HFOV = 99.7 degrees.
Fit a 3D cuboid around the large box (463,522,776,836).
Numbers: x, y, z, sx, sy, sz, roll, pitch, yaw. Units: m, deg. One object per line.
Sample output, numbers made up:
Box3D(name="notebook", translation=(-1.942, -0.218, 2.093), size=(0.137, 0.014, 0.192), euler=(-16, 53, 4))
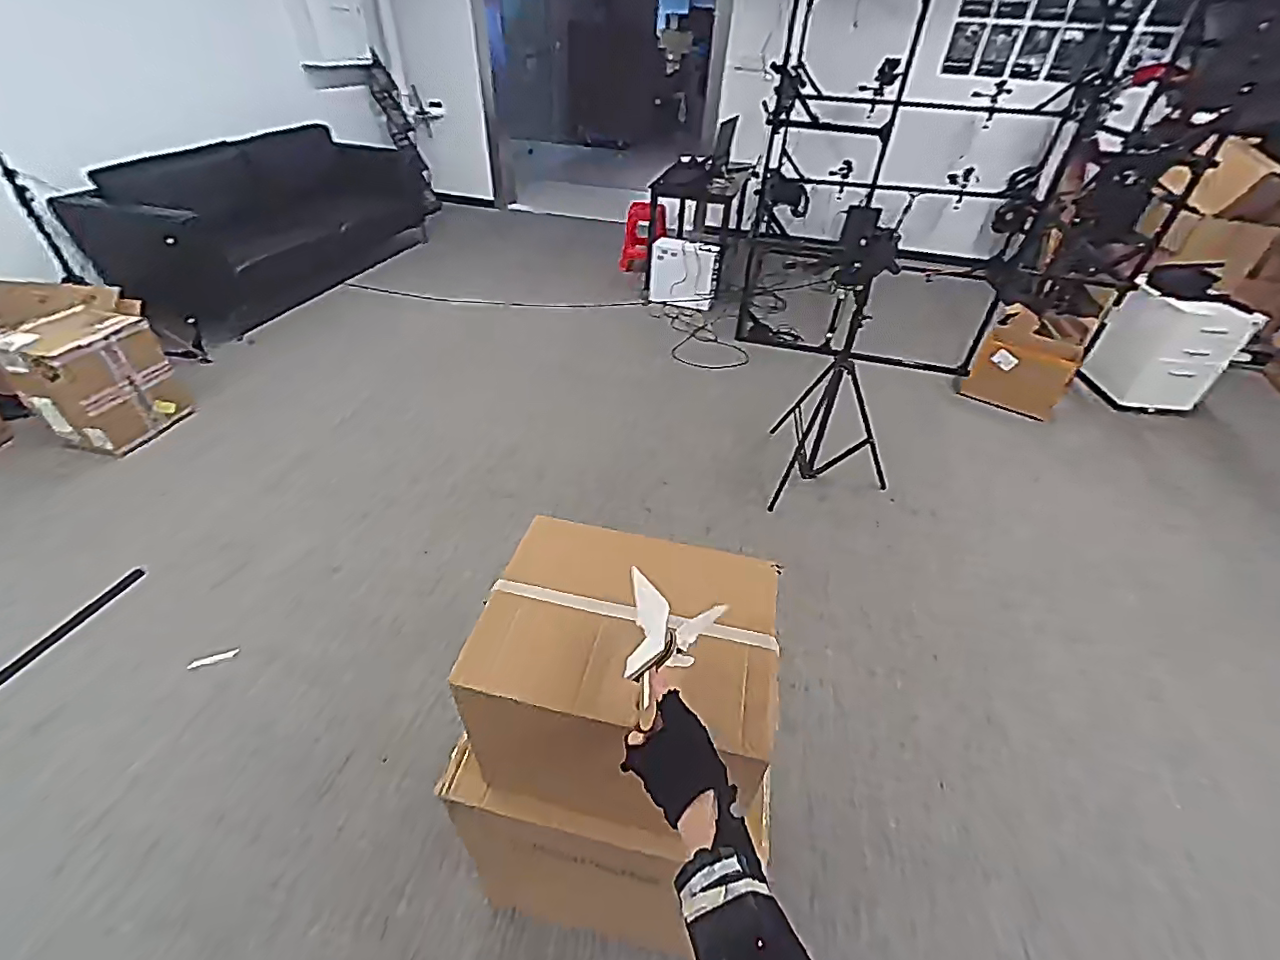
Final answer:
Box3D(name="large box", translation=(-0.016, 0.312, 0.874), size=(0.408, 0.320, 0.320), euler=(11, 41, 7))
